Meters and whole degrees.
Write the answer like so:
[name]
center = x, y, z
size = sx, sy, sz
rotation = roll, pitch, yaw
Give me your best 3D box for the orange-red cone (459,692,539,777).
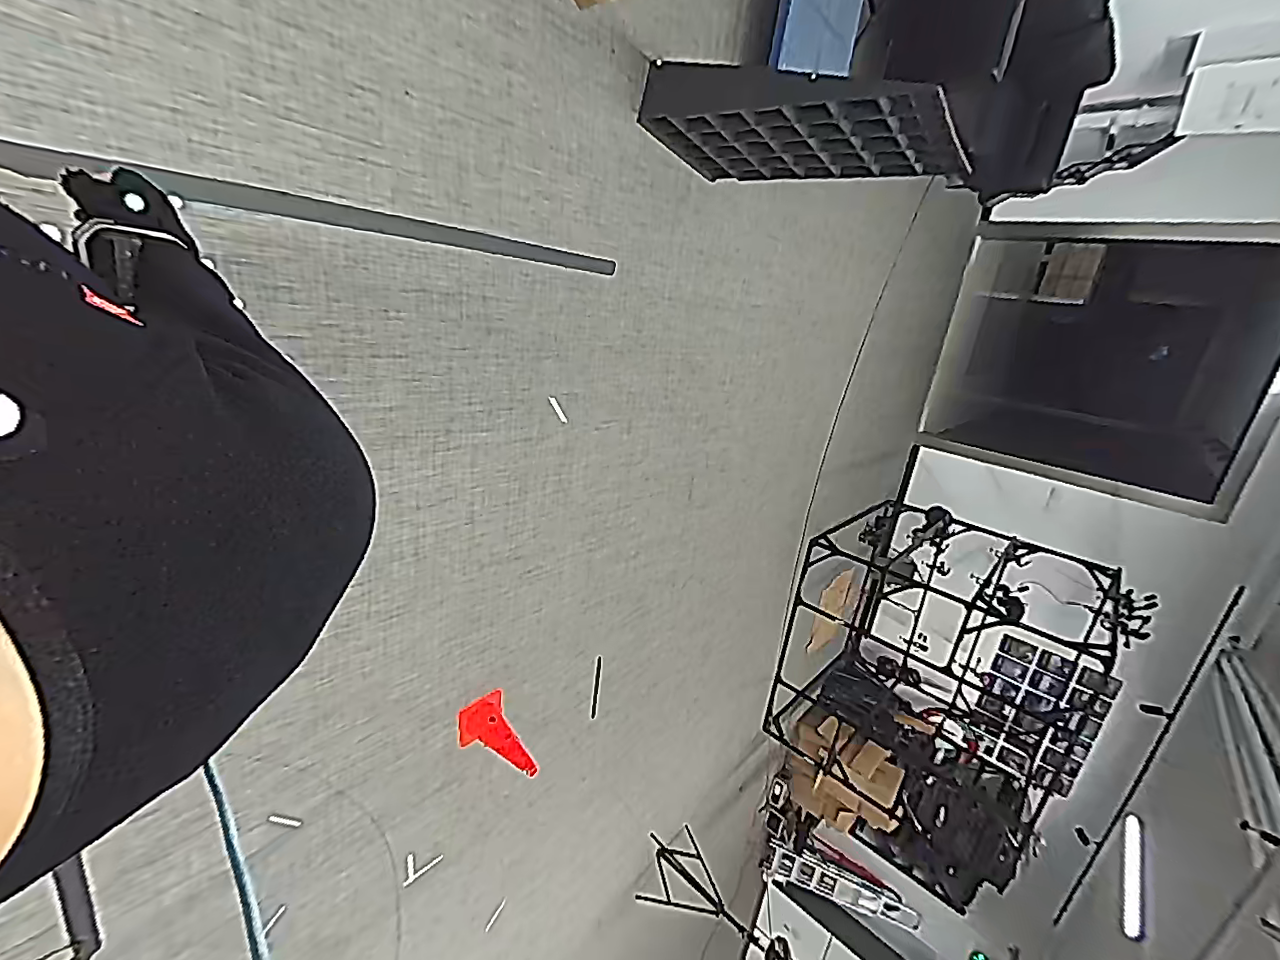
[orange-red cone]
center = -0.516, 1.020, 2.082
size = 0.198, 0.360, 0.199
rotation = -18, 120, -46
